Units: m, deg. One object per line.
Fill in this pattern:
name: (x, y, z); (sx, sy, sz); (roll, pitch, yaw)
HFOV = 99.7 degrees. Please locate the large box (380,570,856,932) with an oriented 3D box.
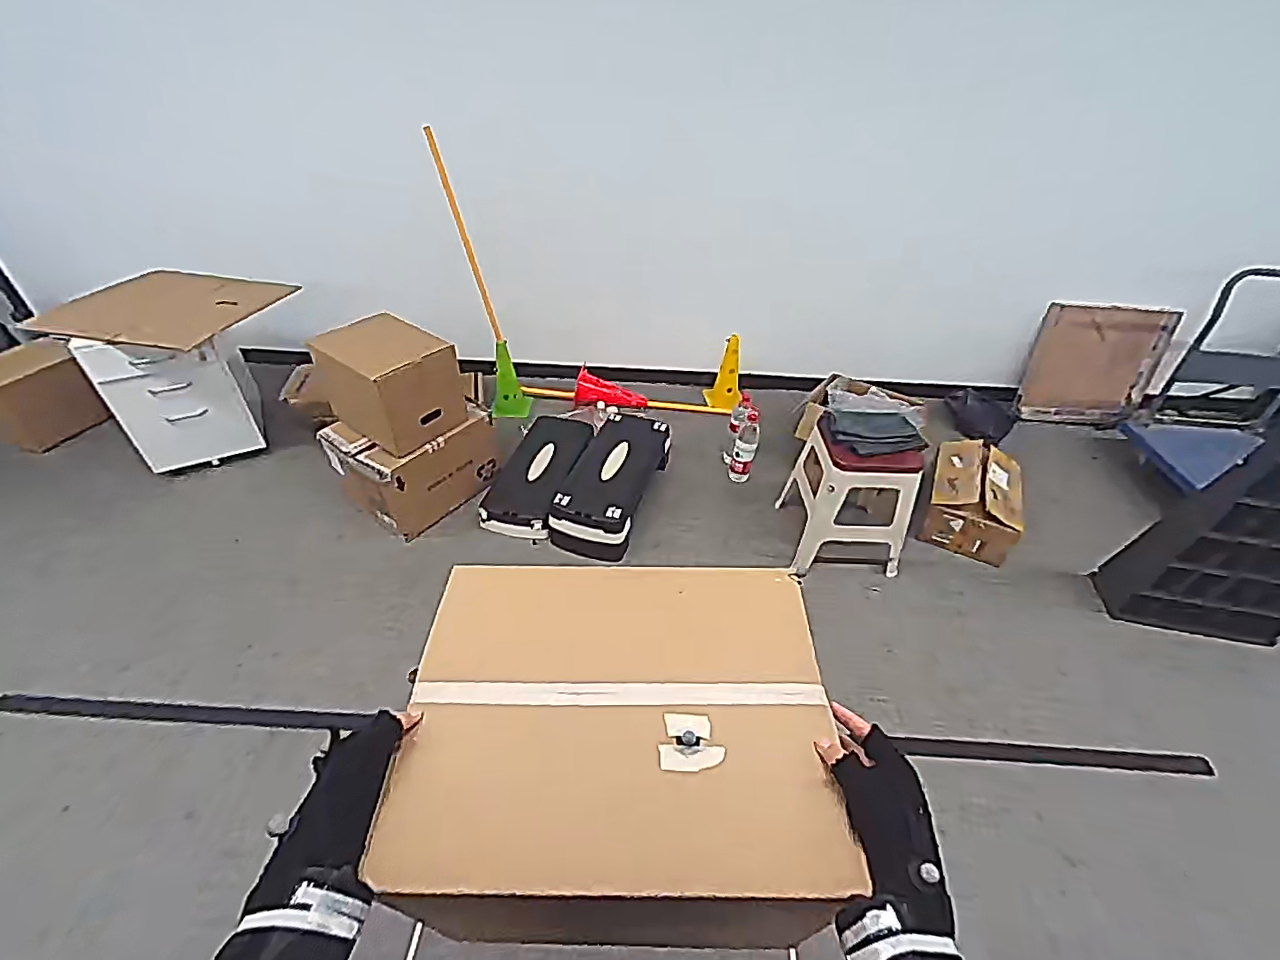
large box: (-0.019, 0.324, 0.652); (0.408, 0.320, 0.320); (1, 45, 1)
